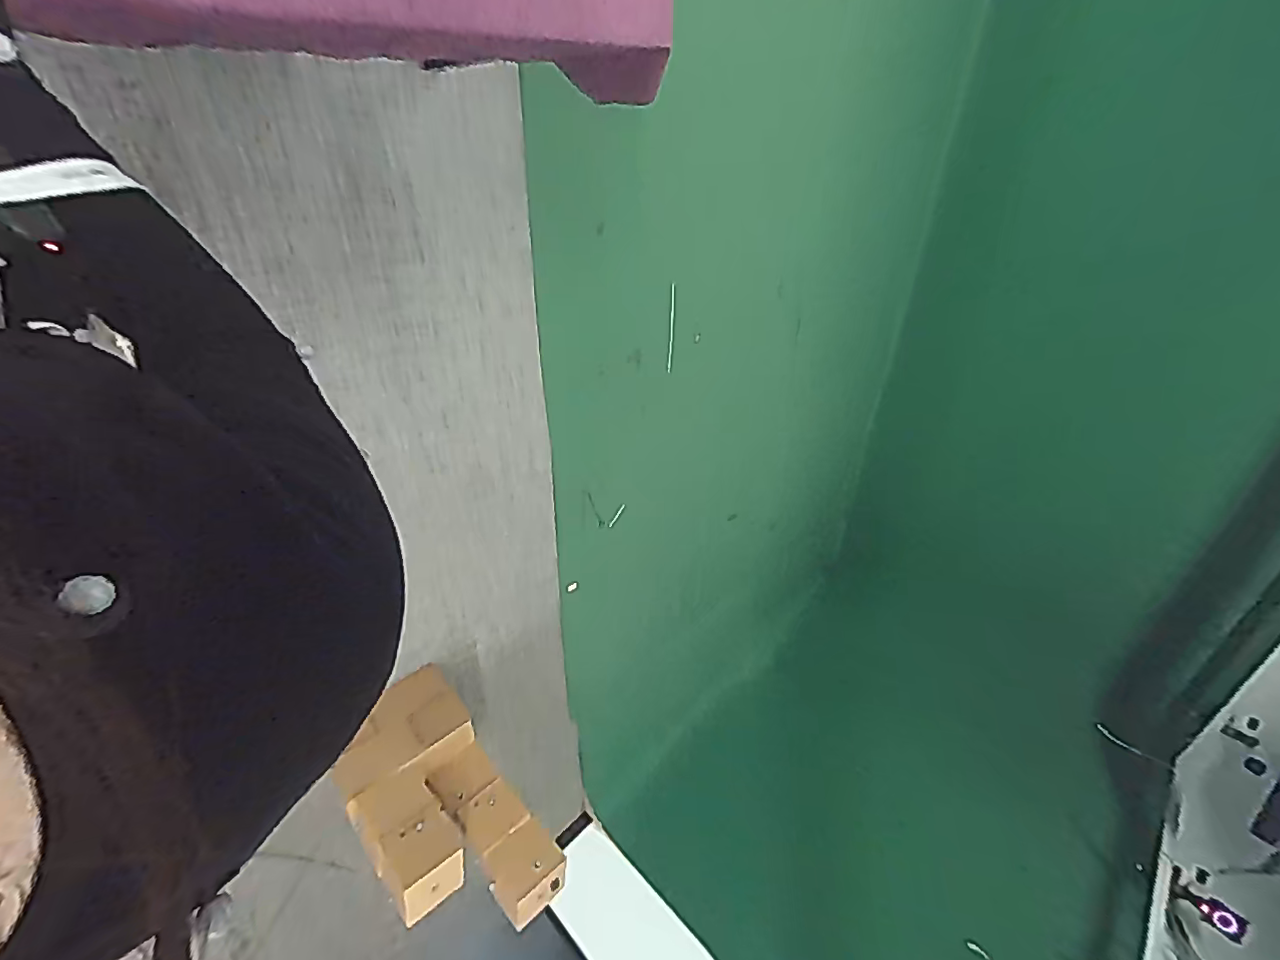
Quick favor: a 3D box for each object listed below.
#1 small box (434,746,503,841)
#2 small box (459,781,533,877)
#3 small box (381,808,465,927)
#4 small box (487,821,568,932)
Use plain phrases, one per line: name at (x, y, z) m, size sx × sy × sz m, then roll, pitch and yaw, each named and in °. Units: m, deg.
small box at (-0.570, 1.041, 1.807) m, size 0.179 × 0.176 × 0.168 m, roll -28°, pitch 134°, yaw -37°
small box at (-0.453, 1.104, 1.713) m, size 0.168 × 0.176 × 0.179 m, roll -26°, pitch 131°, yaw -38°
small box at (-0.604, 1.071, 1.509) m, size 0.168 × 0.176 × 0.179 m, roll -18°, pitch 126°, yaw -42°
small box at (-0.338, 1.177, 1.621) m, size 0.179 × 0.176 × 0.168 m, roll -20°, pitch 128°, yaw -41°
